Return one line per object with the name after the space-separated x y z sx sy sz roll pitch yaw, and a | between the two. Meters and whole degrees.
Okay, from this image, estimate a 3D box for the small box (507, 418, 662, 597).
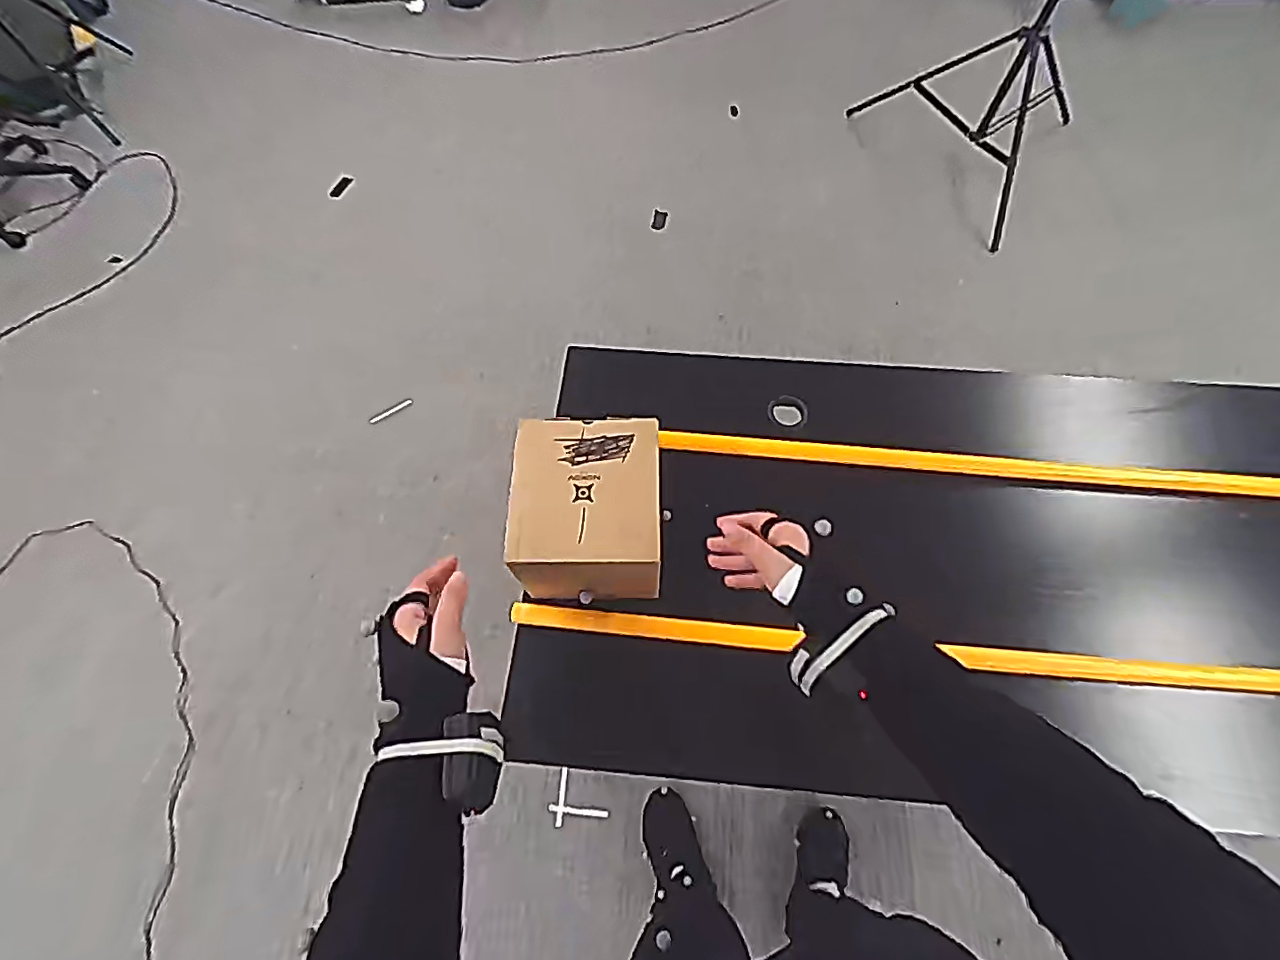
-0.058 0.039 0.674 0.168 0.176 0.179 0 65 1 | small box
